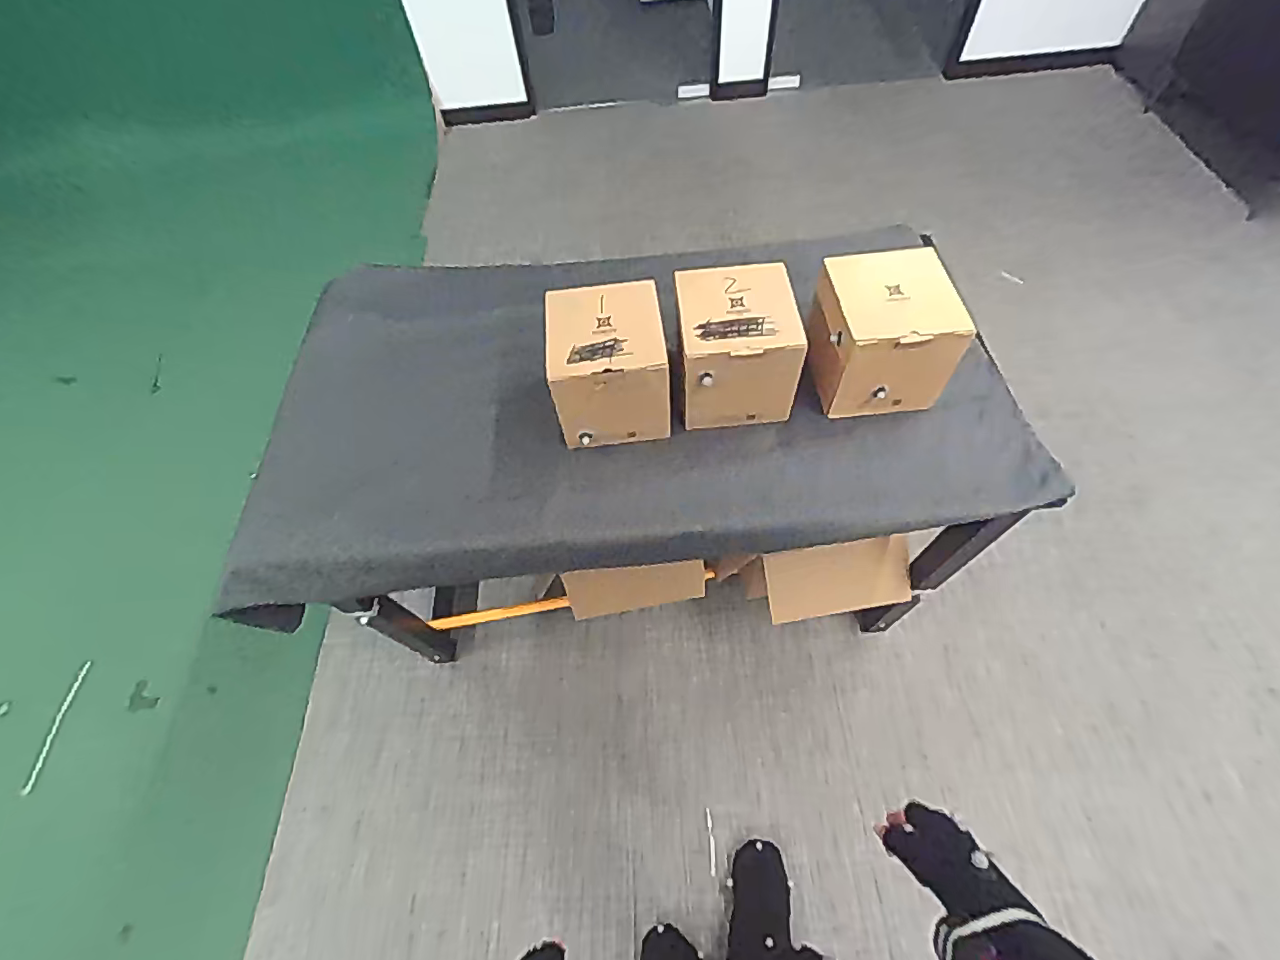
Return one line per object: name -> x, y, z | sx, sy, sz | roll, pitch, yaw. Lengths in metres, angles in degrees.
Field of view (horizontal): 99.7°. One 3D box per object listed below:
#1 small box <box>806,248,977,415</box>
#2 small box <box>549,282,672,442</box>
small box -> 0.367, -0.224, 0.831 | 0.168, 0.176, 0.179 | -6, 60, 1
small box -> -0.042, -0.172, 0.834 | 0.168, 0.176, 0.179 | -7, 59, 0
